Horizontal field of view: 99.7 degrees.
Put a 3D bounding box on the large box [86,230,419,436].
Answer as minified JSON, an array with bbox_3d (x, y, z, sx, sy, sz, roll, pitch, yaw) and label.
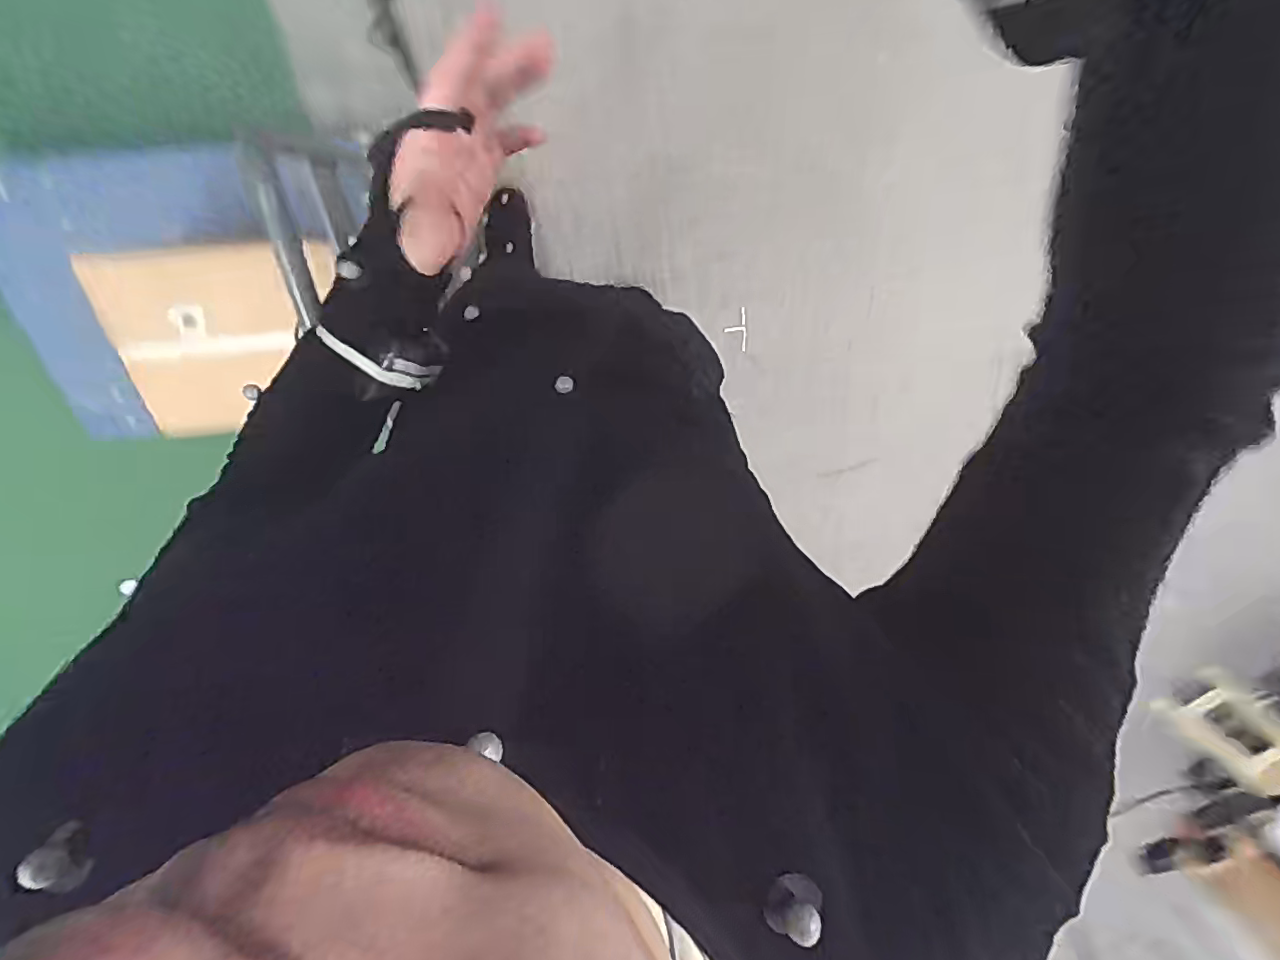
[{"bbox_3d":[-0.721,-0.313,1.099,0.408,0.320,0.320,-7,118,-6],"label":"large box"}]
